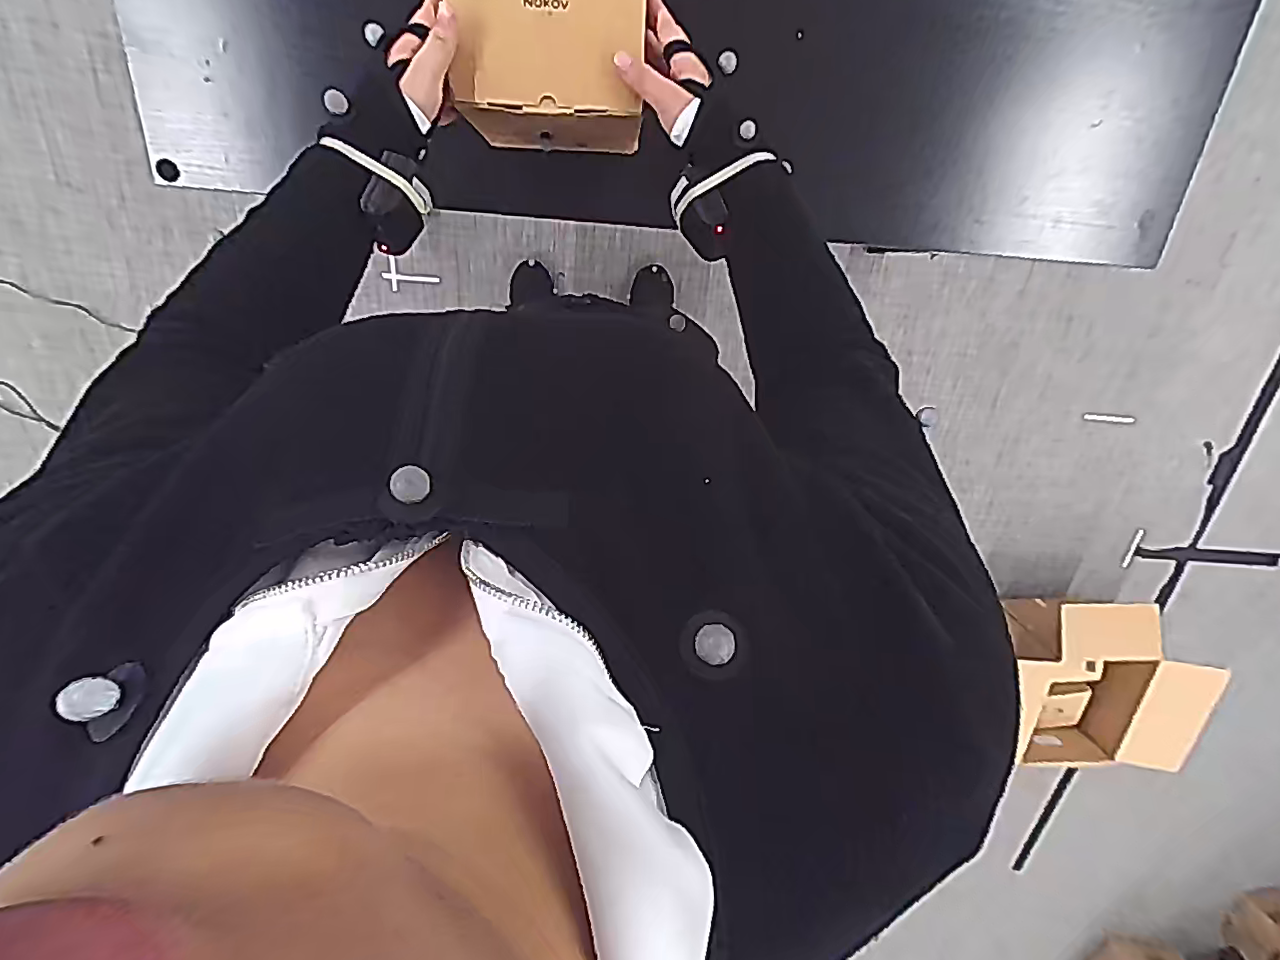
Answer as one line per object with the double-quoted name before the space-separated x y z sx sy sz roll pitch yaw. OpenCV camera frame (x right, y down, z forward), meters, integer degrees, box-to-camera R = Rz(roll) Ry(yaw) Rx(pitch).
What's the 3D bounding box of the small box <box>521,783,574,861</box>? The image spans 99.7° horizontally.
"small box" -0.323 1.202 1.908 0.168 0.176 0.179 7 110 -7
